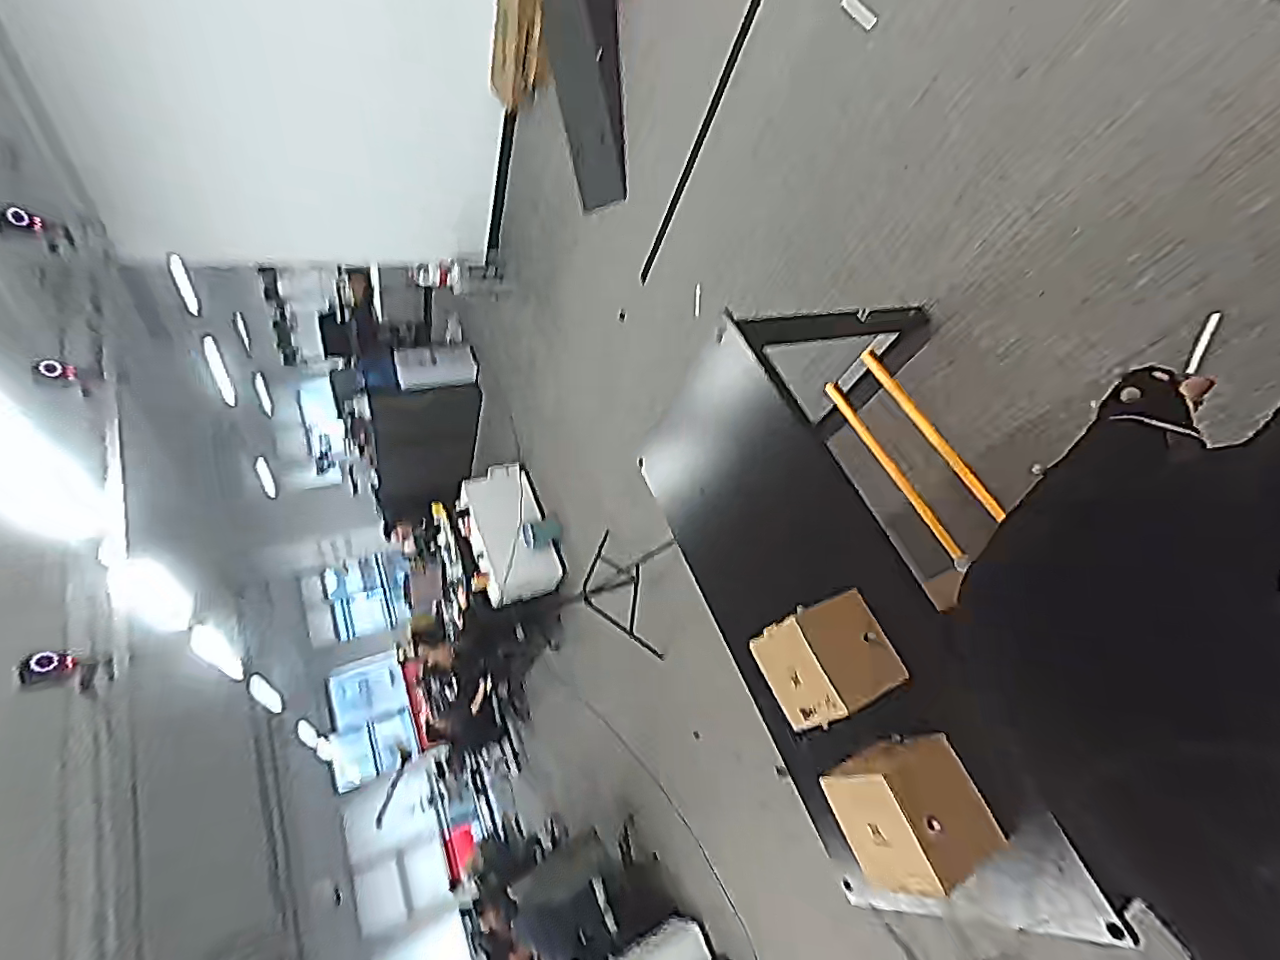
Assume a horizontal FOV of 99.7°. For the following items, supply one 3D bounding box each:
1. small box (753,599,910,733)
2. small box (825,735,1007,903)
[{"bbox_3d":[0.350,0.336,1.002,0.179,0.176,0.168,63,149,24],"label":"small box"},{"bbox_3d":[0.457,0.556,0.904,0.179,0.176,0.168,65,148,23],"label":"small box"}]
